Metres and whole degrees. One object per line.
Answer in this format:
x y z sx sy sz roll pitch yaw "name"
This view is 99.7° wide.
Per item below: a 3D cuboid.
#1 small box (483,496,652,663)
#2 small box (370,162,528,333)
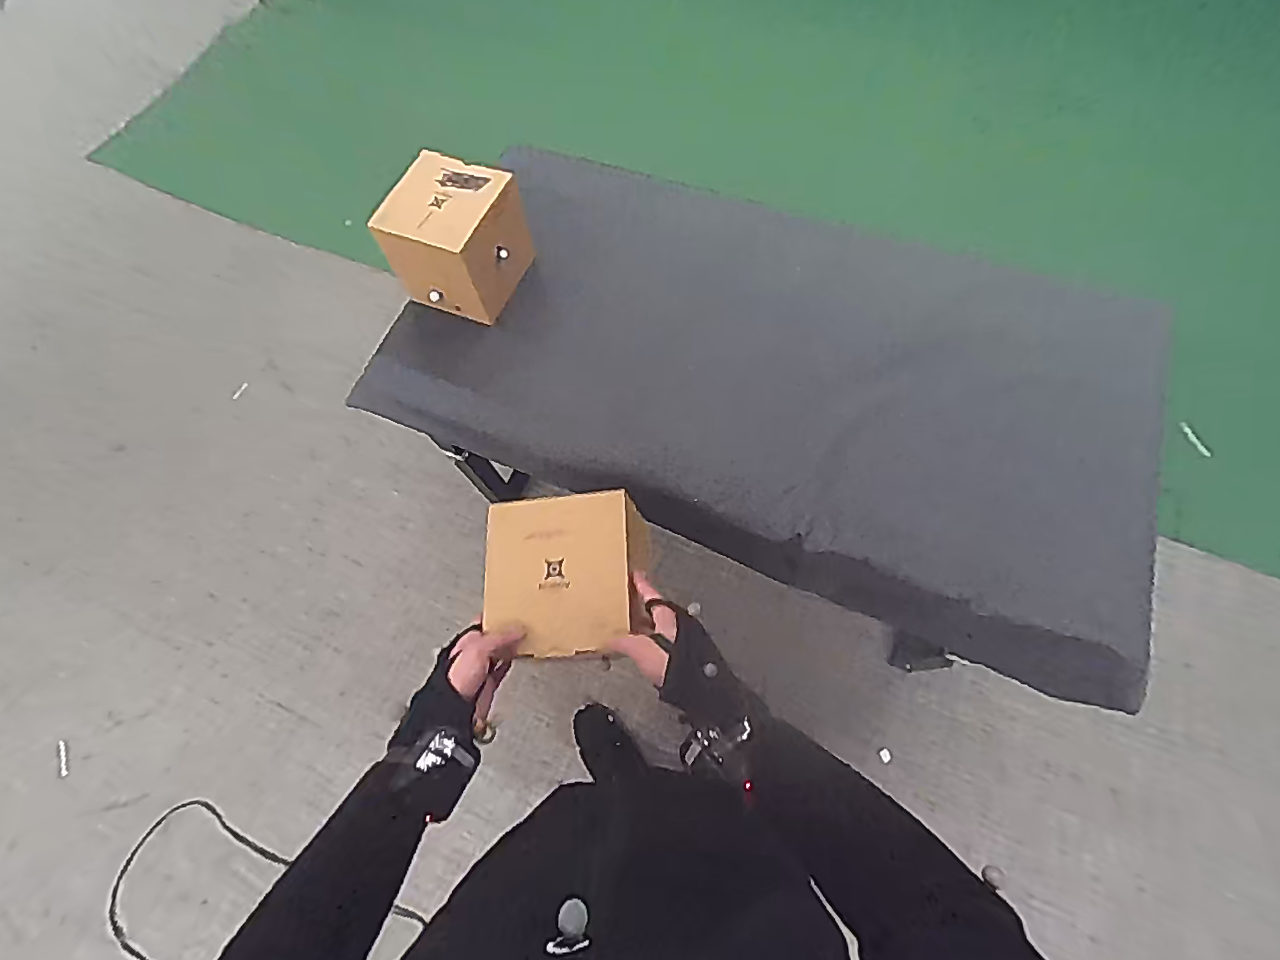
-0.080 0.133 0.673 0.168 0.176 0.179 -6 69 8 "small box"
-0.303 -0.384 0.907 0.168 0.176 0.179 20 70 10 "small box"
